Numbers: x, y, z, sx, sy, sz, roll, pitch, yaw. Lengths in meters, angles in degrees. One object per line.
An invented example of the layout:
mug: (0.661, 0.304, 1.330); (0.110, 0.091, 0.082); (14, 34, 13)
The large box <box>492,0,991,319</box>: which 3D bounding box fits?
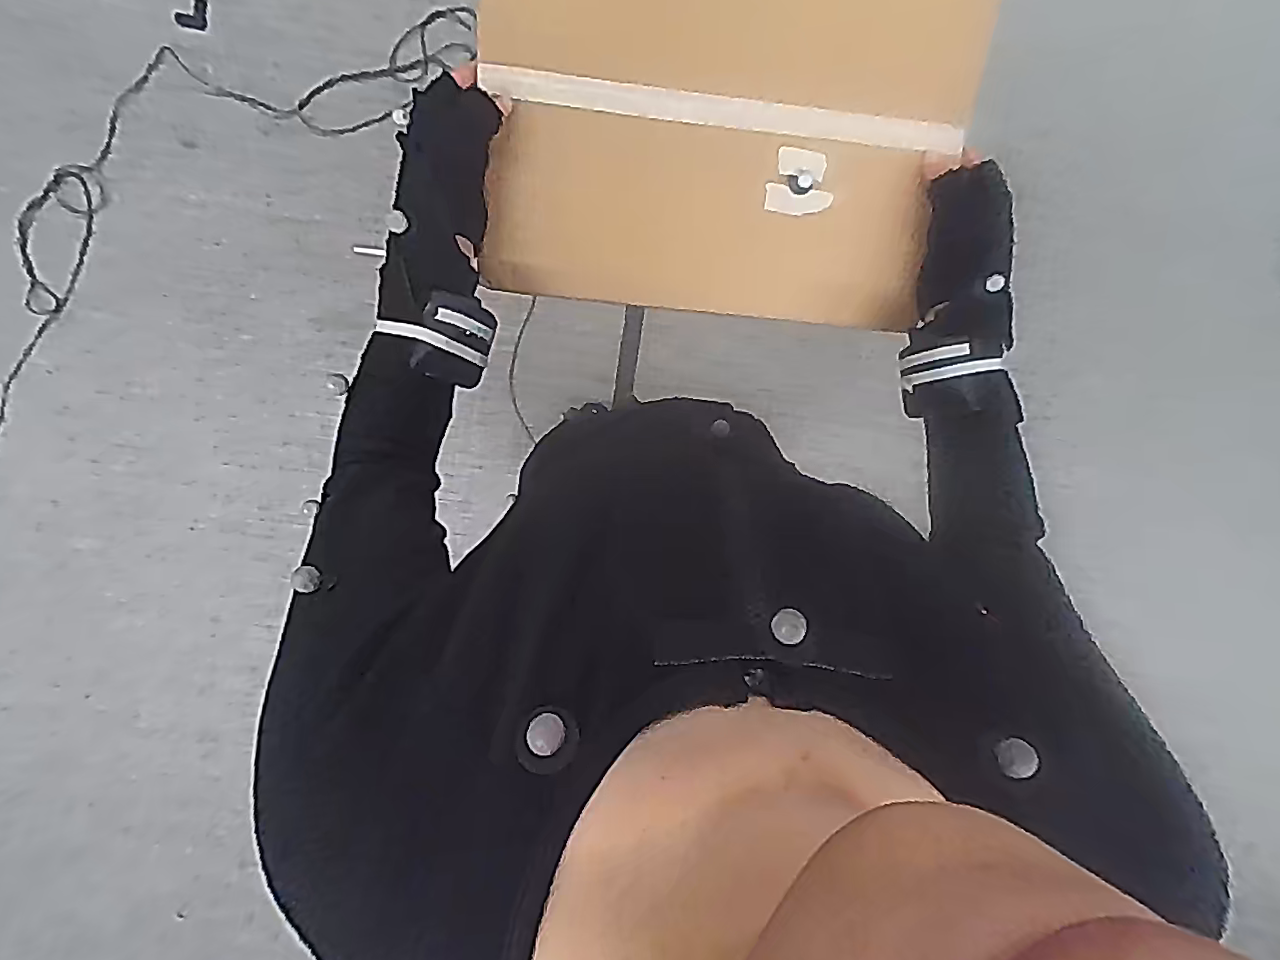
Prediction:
large box: (0.067, -0.355, 0.590); (0.408, 0.320, 0.320); (4, 109, -6)
